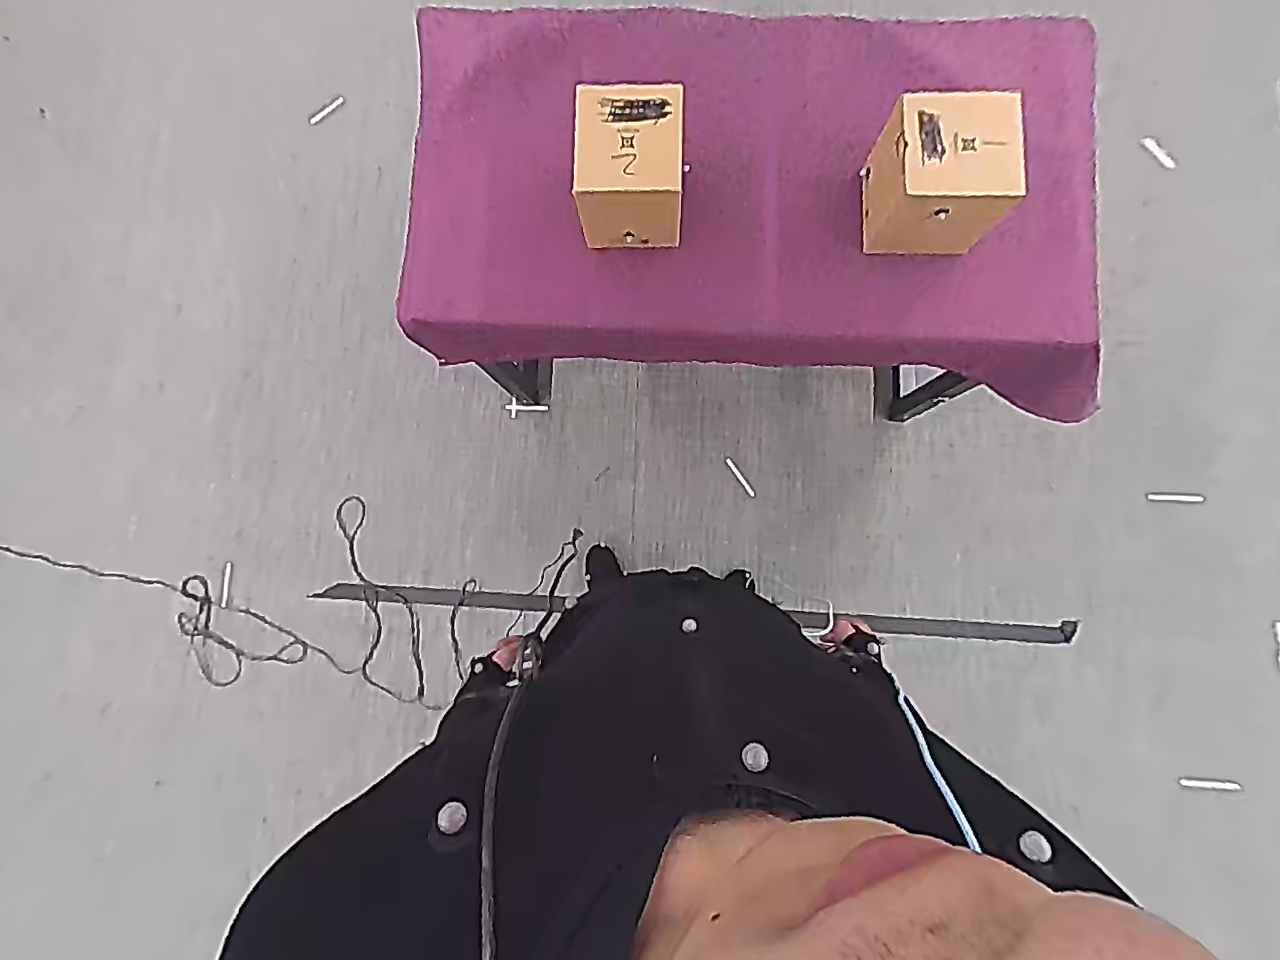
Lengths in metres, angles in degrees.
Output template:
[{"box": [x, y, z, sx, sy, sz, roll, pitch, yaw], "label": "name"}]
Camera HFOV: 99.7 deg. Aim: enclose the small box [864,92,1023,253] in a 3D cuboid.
[{"box": [0.477, -0.487, 0.877, 0.179, 0.176, 0.168, 2, 84, 2], "label": "small box"}]
